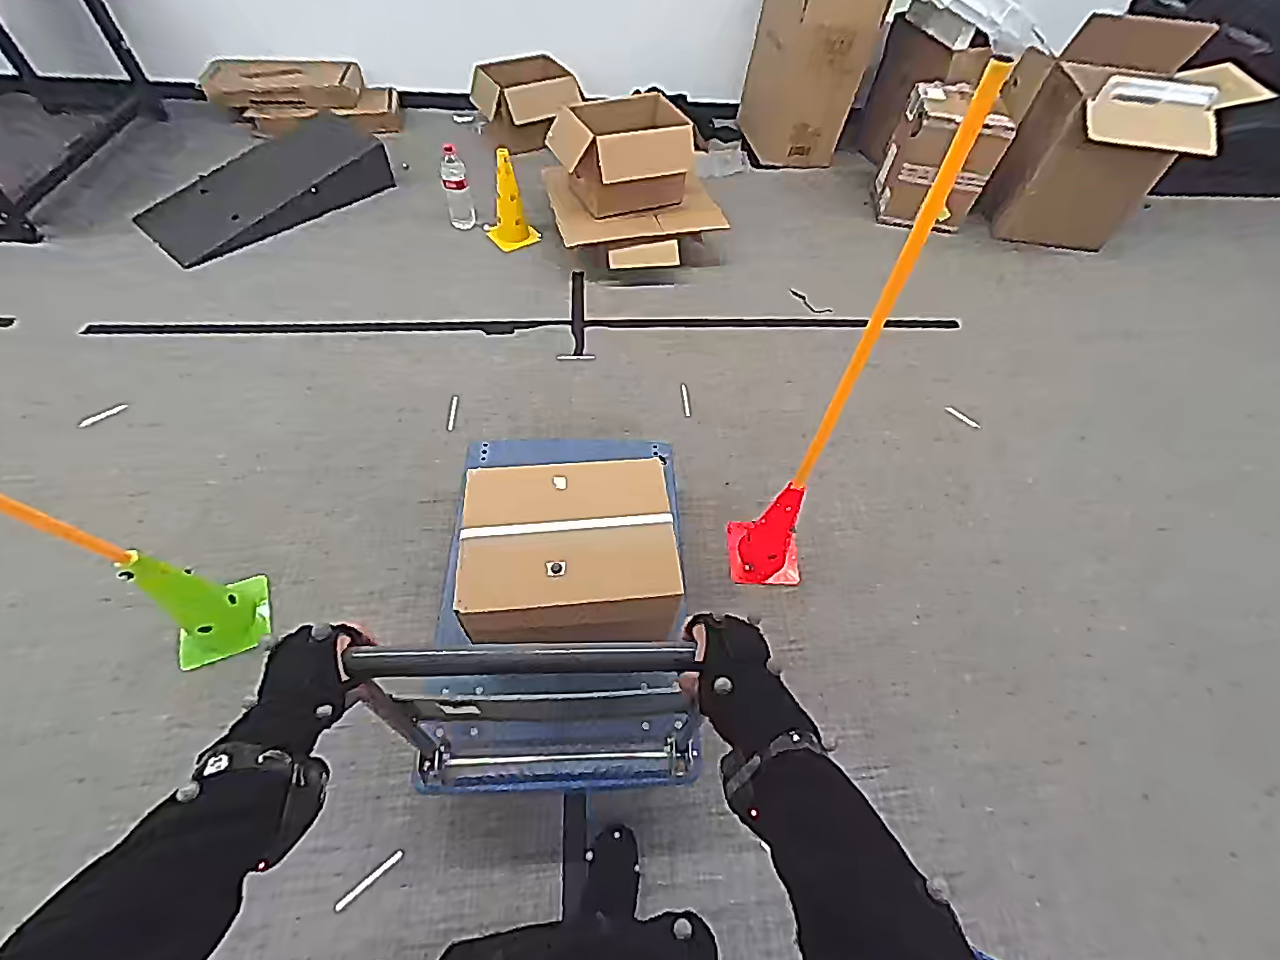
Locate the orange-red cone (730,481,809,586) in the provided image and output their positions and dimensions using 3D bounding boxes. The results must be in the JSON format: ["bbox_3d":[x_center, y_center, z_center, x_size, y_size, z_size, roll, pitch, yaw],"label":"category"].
[{"bbox_3d":[0.375,0.116,1.434,0.199,0.360,0.198,4,55,-3],"label":"orange-red cone"}]

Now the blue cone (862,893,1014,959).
[{"bbox_3d":[0.568,0.859,0.944,0.193,0.380,0.192,-4,54,-8],"label":"blue cone"}]
